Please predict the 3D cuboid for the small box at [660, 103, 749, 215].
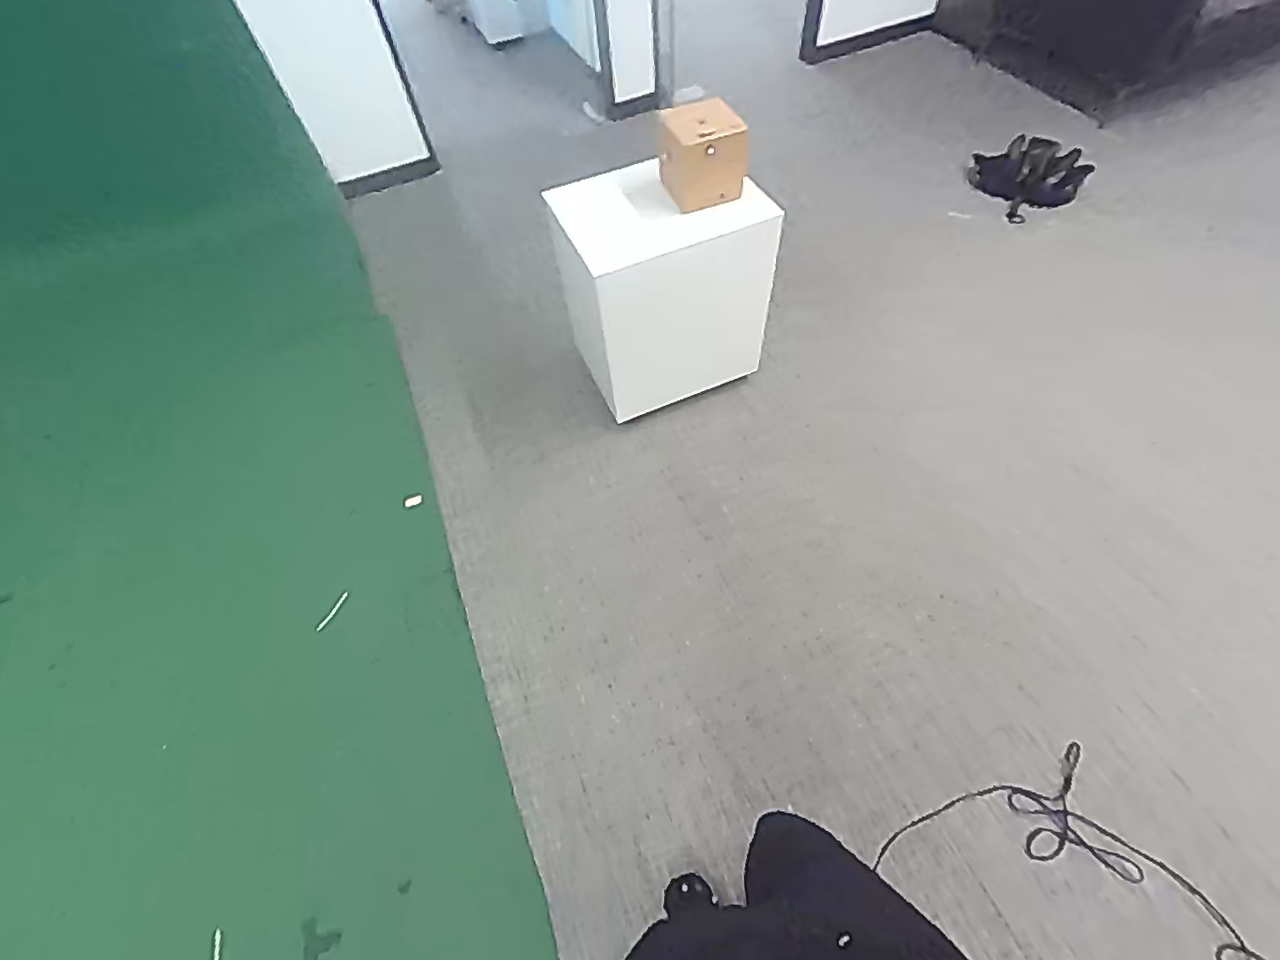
[{"bbox_3d":[0.155,-0.798,1.350,0.168,0.176,0.179,-19,58,-6],"label":"small box"}]
